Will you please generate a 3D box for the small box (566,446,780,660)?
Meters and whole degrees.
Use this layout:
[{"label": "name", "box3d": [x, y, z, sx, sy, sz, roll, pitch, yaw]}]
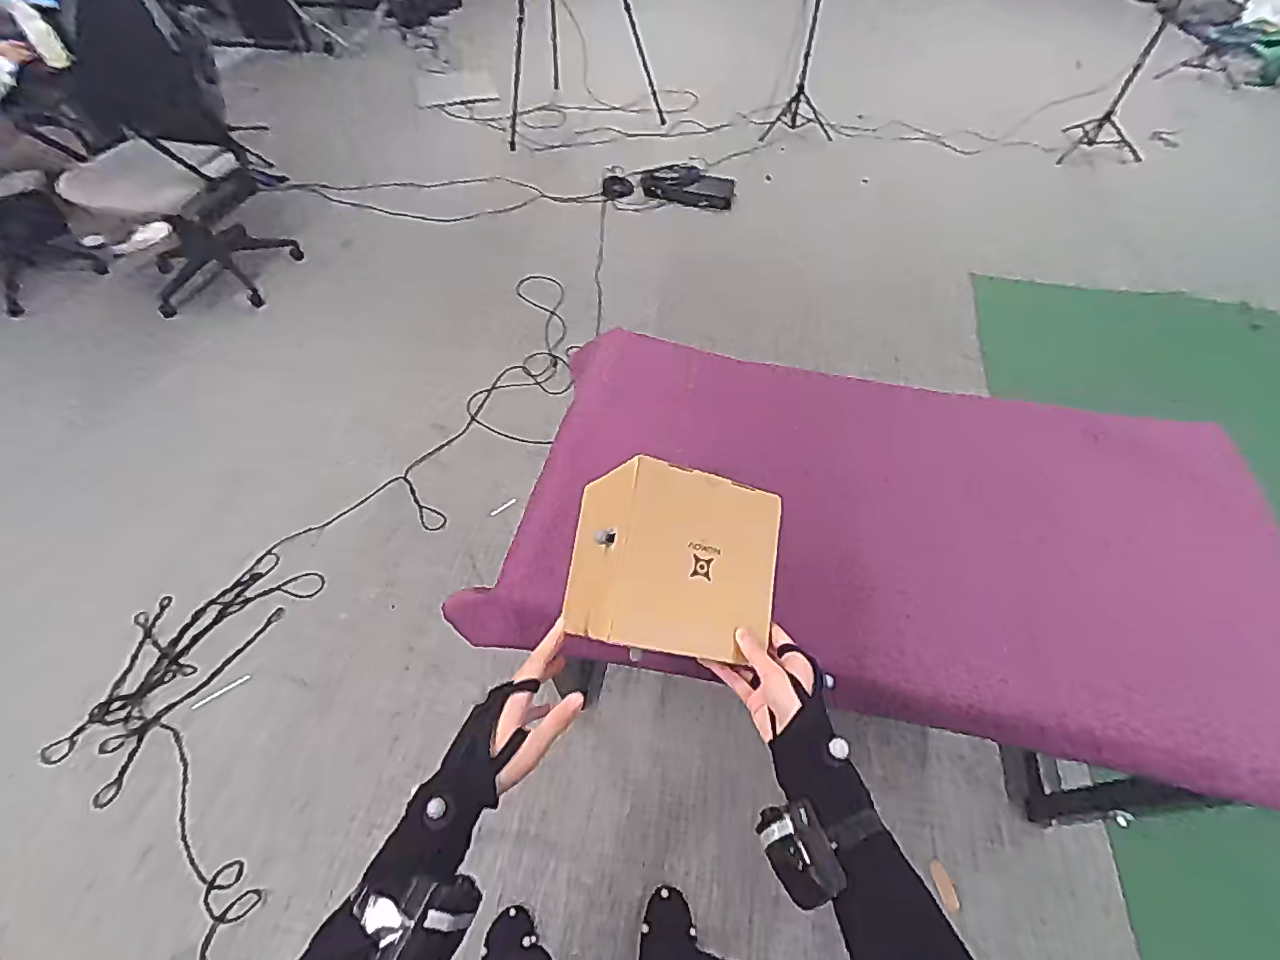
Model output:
[{"label": "small box", "box3d": [0.027, 0.087, 0.587, 0.168, 0.176, 0.179, 16, 71, -20]}]
